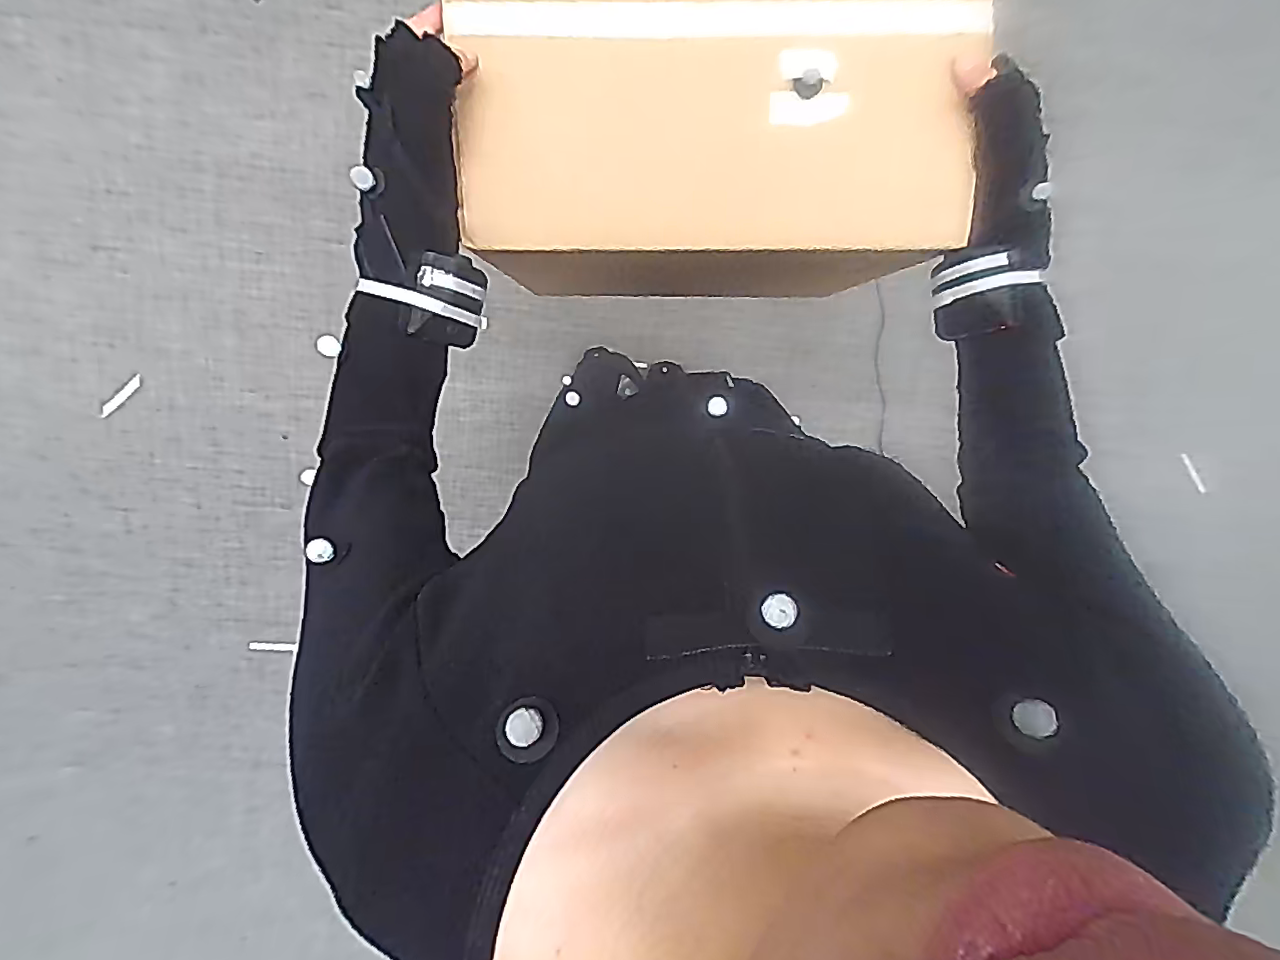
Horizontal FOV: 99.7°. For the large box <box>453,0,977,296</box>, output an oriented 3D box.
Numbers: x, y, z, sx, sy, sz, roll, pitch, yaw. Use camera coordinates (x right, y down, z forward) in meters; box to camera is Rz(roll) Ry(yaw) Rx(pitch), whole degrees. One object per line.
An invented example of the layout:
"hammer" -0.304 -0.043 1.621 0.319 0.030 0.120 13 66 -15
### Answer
"large box" 0.053 -0.374 0.556 0.408 0.320 0.320 0 102 -1
